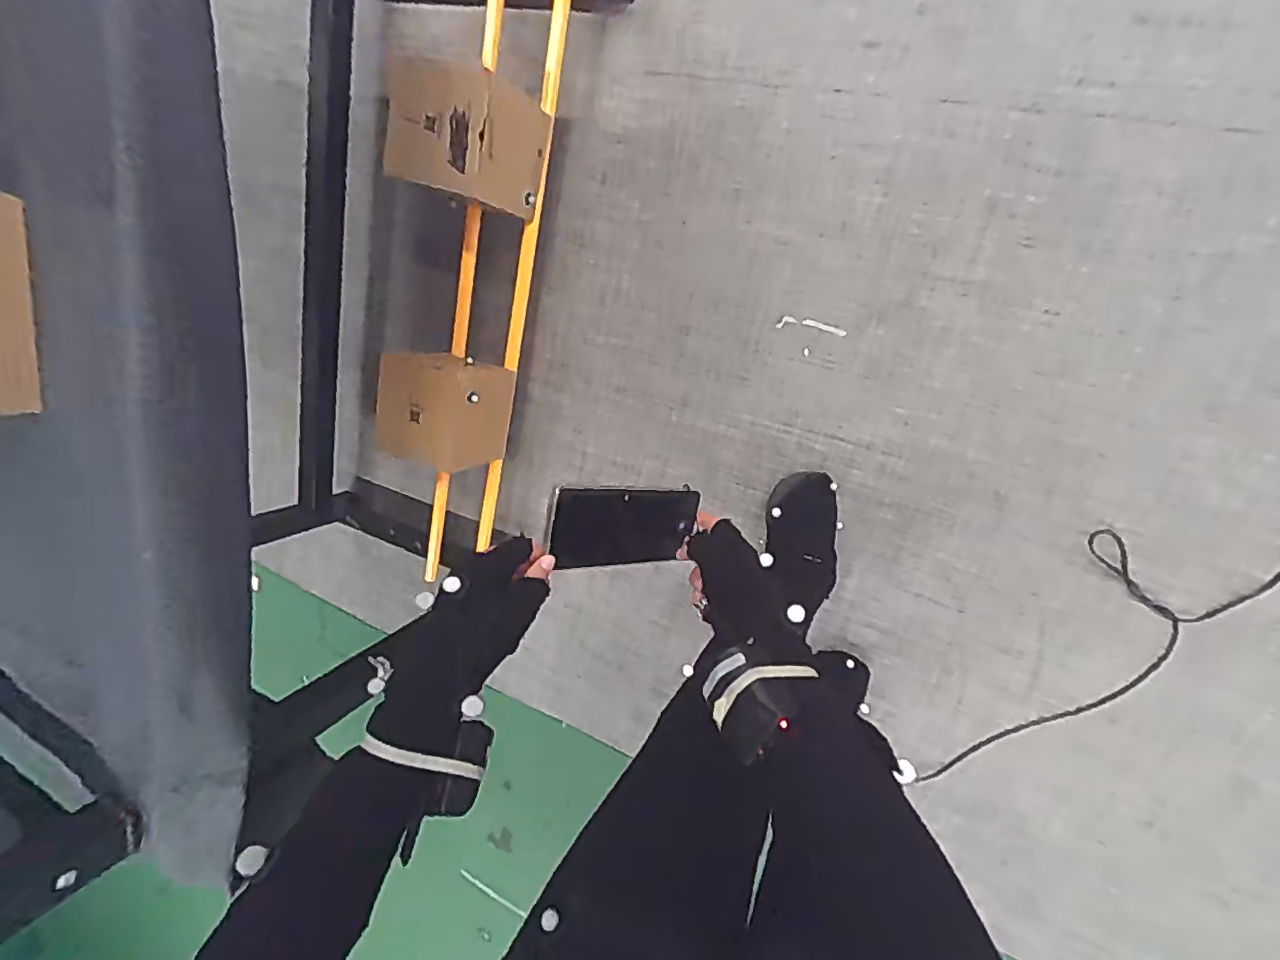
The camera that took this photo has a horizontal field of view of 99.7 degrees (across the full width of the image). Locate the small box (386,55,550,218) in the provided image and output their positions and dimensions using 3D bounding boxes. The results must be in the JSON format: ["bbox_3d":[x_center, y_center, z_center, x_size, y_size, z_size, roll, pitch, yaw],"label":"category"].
[{"bbox_3d":[-0.268,-0.534,0.864,0.179,0.176,0.168,21,109,16],"label":"small box"}]
